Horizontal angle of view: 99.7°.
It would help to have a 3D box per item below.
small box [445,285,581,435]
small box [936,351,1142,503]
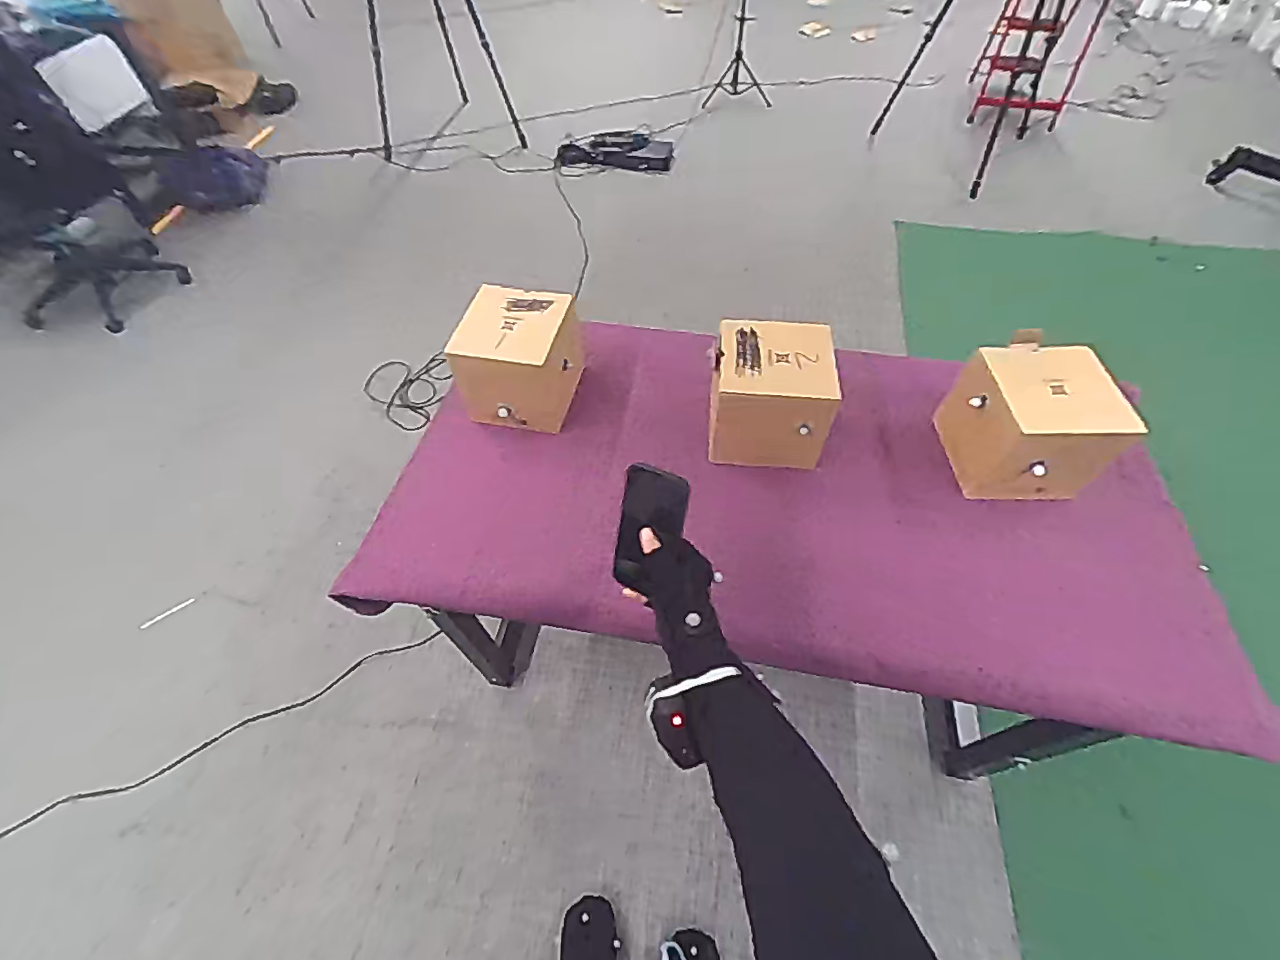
[{"bbox_3d":[-0.206,-0.206,0.938,0.168,0.176,0.179,10,57,8],"label":"small box"},{"bbox_3d":[0.591,-0.076,0.833,0.168,0.176,0.179,0,54,2],"label":"small box"}]
